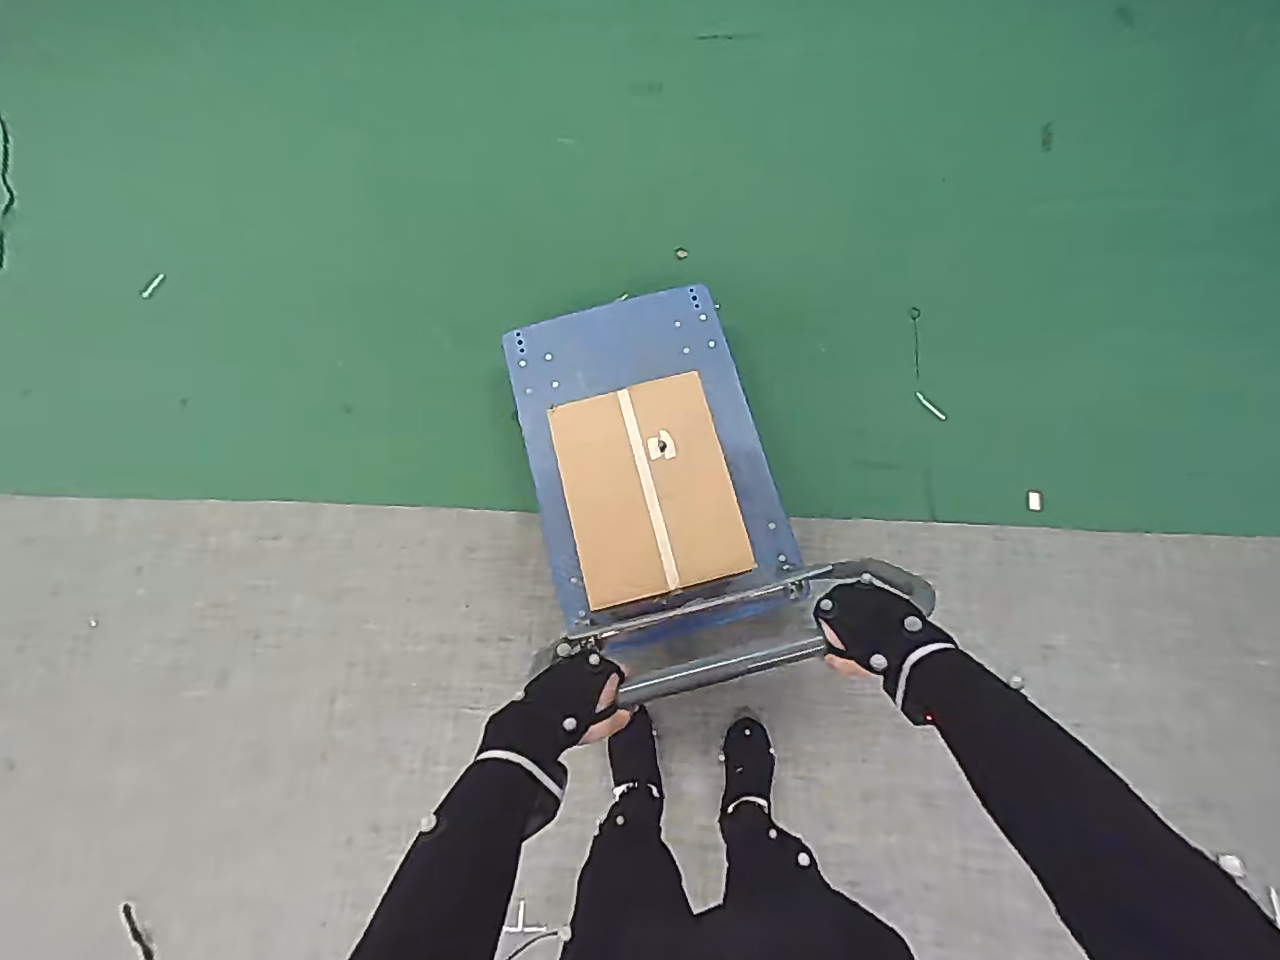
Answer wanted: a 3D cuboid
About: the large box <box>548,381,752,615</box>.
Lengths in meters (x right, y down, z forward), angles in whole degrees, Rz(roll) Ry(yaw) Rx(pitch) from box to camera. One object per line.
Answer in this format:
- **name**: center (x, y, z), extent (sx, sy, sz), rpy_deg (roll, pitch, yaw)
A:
- **large box**: center (0.020, 0.059, 1.190), extent (0.320, 0.320, 0.408), rpy_deg (-15, 75, -2)
